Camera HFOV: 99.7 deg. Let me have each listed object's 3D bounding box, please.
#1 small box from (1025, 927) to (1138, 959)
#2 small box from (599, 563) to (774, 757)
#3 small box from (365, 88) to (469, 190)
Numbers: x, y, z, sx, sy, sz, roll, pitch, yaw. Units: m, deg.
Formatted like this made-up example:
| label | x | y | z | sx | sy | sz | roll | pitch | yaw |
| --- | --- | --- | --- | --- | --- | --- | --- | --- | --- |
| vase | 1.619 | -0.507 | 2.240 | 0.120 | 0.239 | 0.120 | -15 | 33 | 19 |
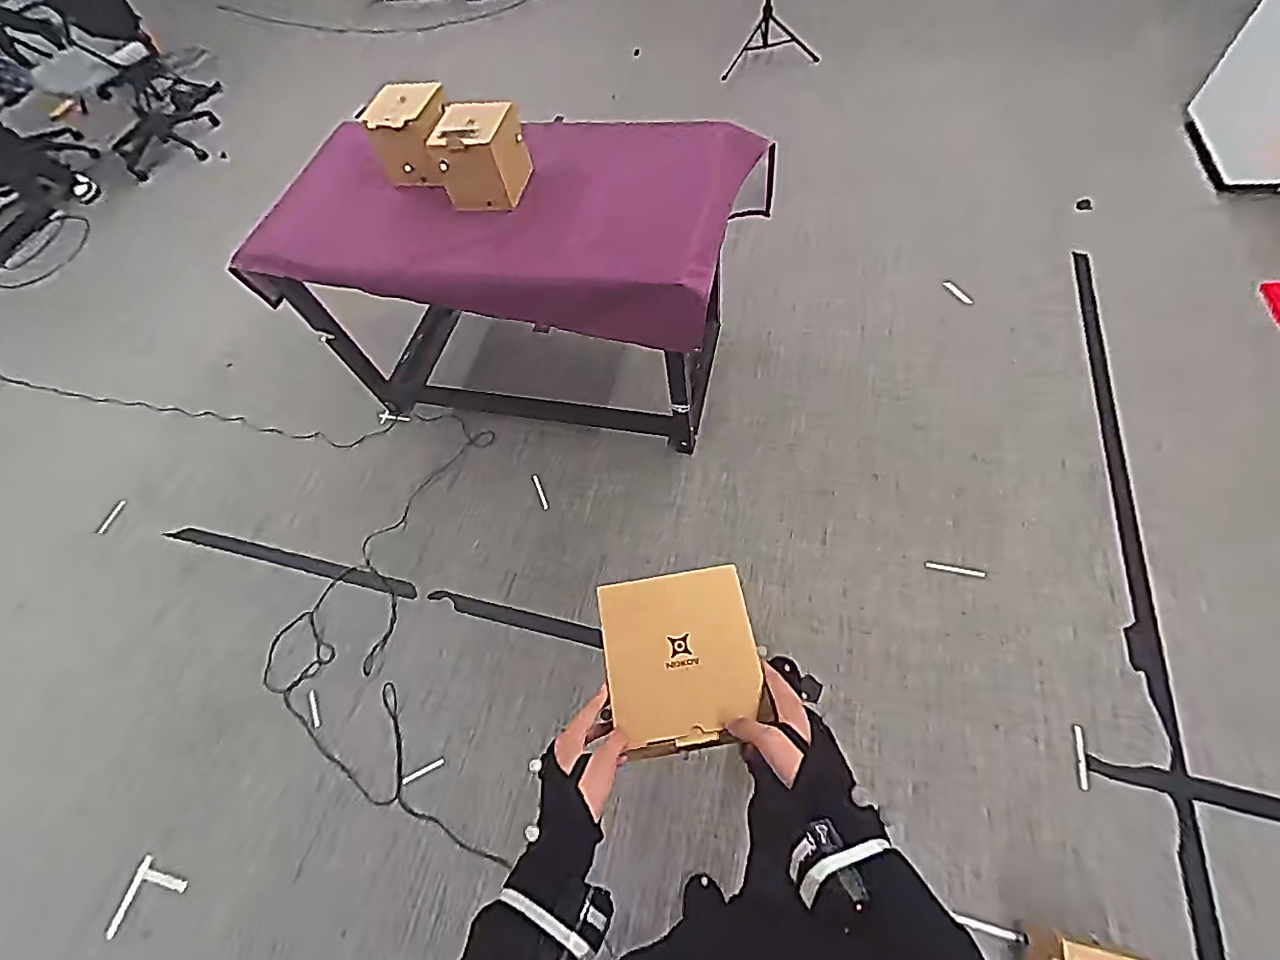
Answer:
| label | x | y | z | sx | sy | sz | roll | pitch | yaw |
| --- | --- | --- | --- | --- | --- | --- | --- | --- | --- |
| small box | 0.859 | 0.981 | 1.020 | 0.179 | 0.176 | 0.168 | 8 | 63 | 12 |
| small box | 0.046 | 0.223 | 0.657 | 0.168 | 0.176 | 0.179 | -10 | 60 | -3 |
| small box | -0.579 | -0.903 | 1.434 | 0.168 | 0.176 | 0.179 | 7 | 63 | 13 |
